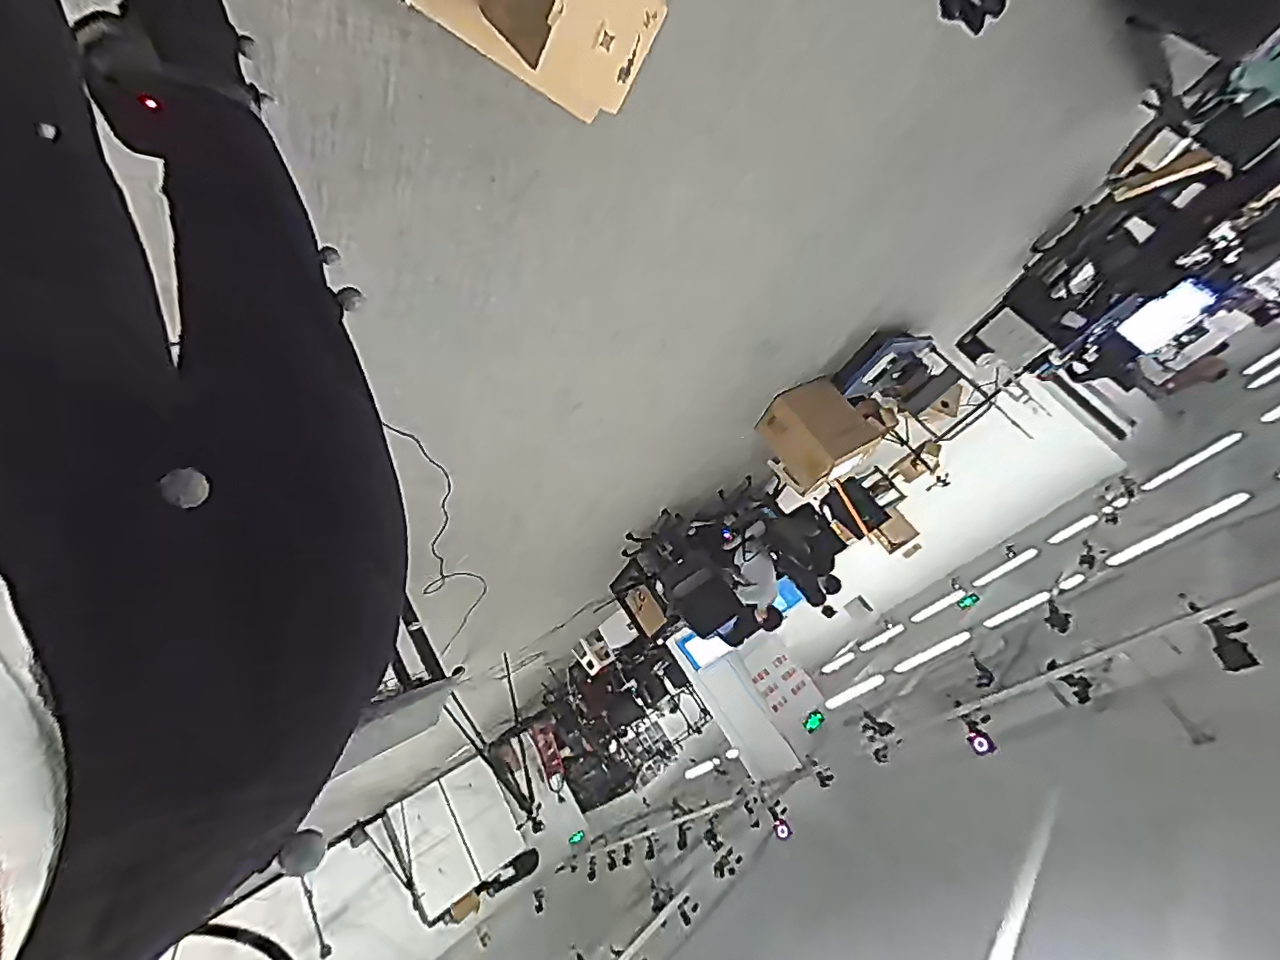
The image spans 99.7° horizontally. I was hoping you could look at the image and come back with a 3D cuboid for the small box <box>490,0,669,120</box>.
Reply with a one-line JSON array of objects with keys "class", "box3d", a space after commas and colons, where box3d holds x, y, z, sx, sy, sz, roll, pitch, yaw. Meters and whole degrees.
[{"class": "small box", "box3d": [-0.098, -0.699, 0.818, 0.179, 0.176, 0.168, -11, 149, -48]}]
